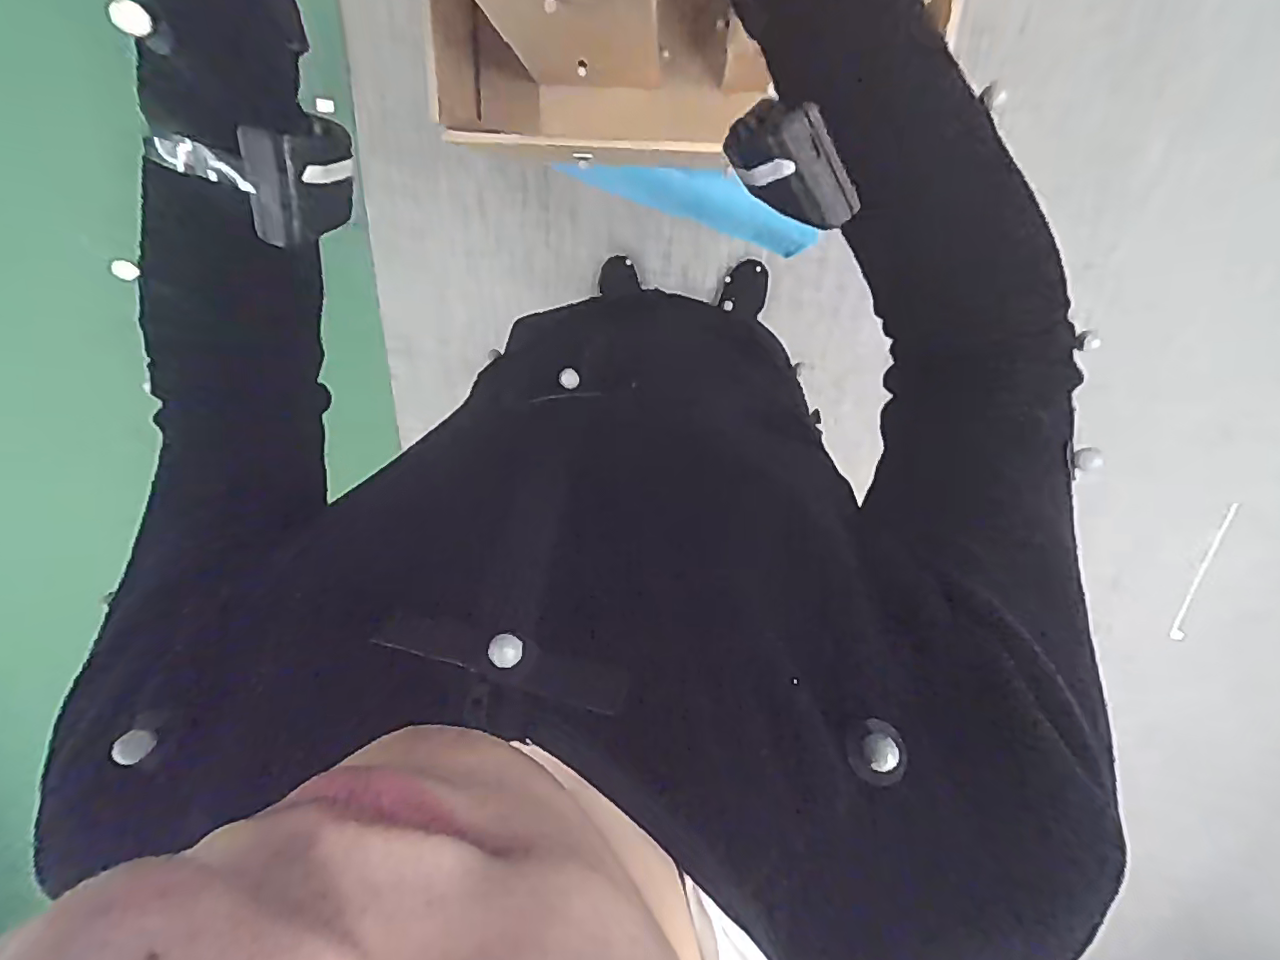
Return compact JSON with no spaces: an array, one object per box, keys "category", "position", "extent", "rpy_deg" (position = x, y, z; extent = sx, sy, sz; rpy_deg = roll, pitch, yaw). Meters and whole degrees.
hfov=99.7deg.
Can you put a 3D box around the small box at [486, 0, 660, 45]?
[{"category":"small box","position":[-0.067,-0.539,0.507],"extent":[0.179,0.176,0.168],"rpy_deg":[3,112,1]}]

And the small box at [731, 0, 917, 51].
[{"category":"small box","position":[0.181,-0.523,0.495],"extent":[0.179,0.176,0.168],"rpy_deg":[6,112,4]}]
